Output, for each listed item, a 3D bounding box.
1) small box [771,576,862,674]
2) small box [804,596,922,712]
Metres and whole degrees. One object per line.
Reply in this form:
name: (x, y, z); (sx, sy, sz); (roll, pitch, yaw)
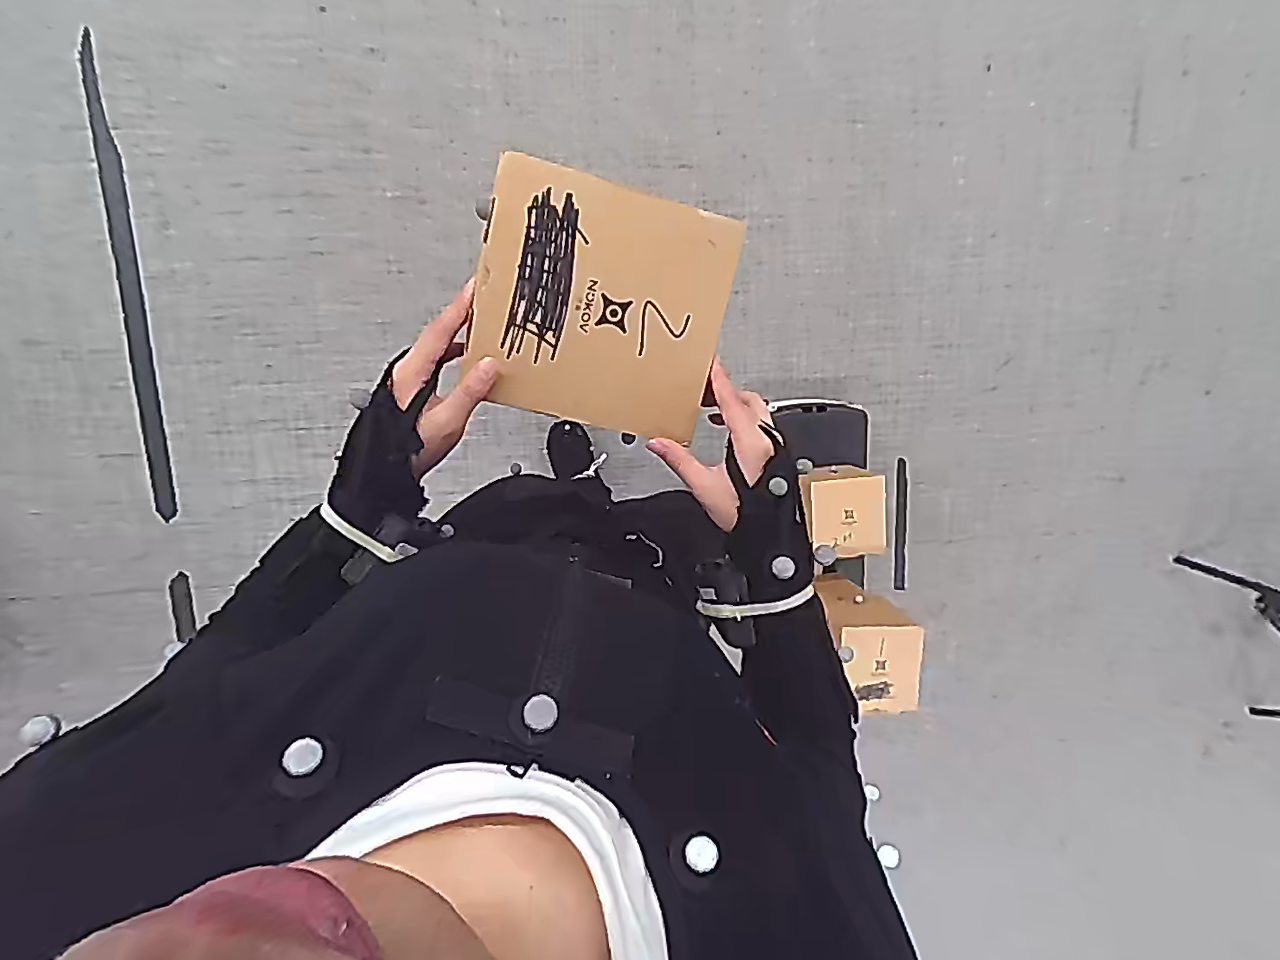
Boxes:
small box: (0.422, 0.334, 1.280); (0.179, 0.176, 0.168); (-5, 99, -3)
small box: (0.450, 0.354, 1.118); (0.168, 0.176, 0.179); (1, 98, -5)
